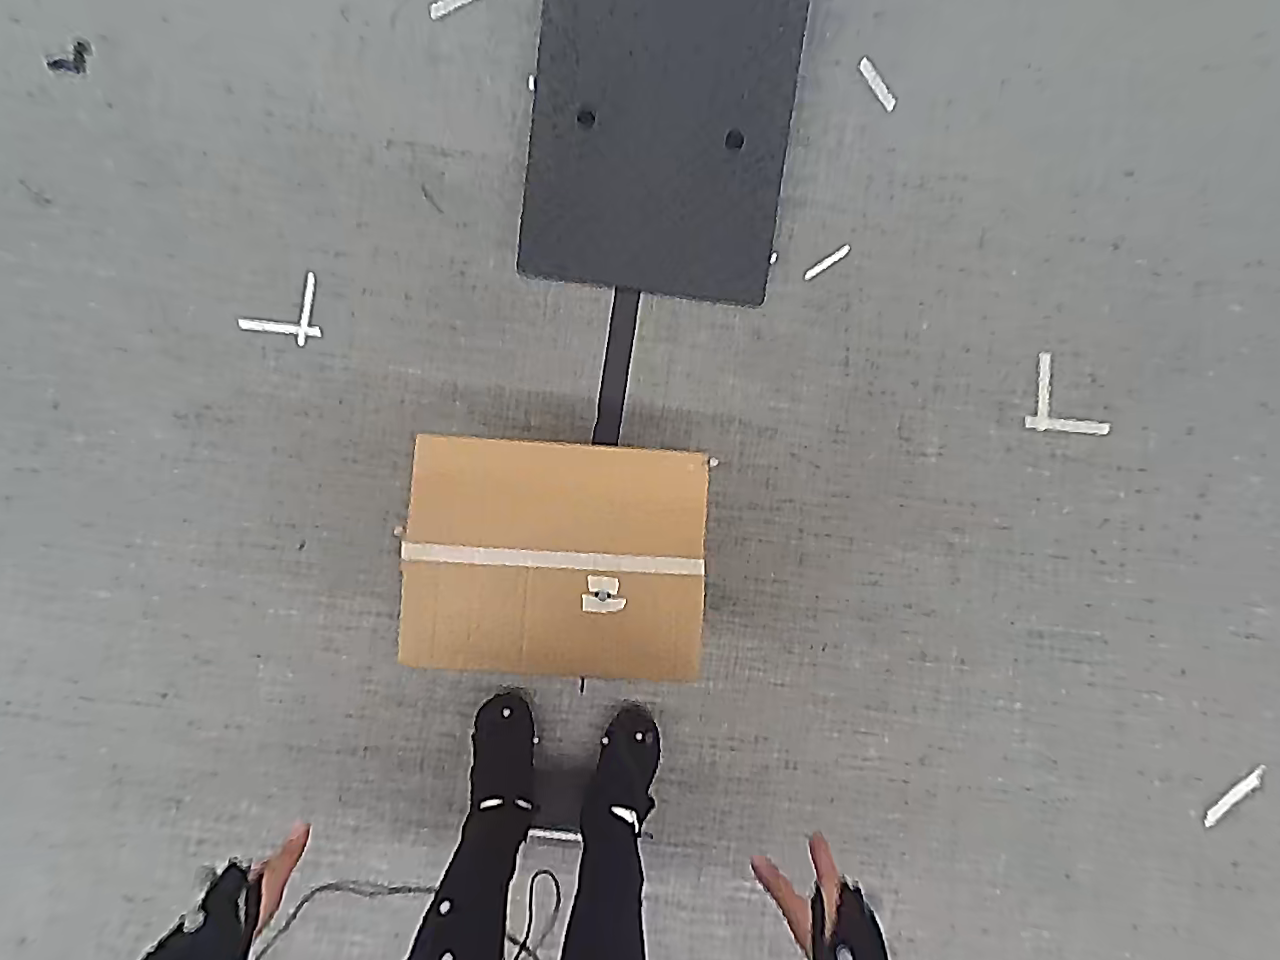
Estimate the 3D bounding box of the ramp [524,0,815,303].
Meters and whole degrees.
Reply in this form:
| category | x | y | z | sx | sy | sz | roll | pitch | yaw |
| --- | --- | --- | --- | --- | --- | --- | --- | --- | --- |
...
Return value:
| category | x | y | z | sx | sy | sz | roll | pitch | yaw |
| --- | --- | --- | --- | --- | --- | --- | --- | --- | --- |
| ramp | 0.079 | -0.869 | 1.010 | 0.509 | 0.206 | 0.991 | 6 | 87 | -3 |

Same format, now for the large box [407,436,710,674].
| category | x | y | z | sx | sy | sz | roll | pitch | yaw |
| --- | --- | --- | --- | --- | --- | --- | --- | --- | --- |
| large box | -0.116 | 0.114 | 0.886 | 0.408 | 0.320 | 0.320 | 4 | 86 | -3 |
